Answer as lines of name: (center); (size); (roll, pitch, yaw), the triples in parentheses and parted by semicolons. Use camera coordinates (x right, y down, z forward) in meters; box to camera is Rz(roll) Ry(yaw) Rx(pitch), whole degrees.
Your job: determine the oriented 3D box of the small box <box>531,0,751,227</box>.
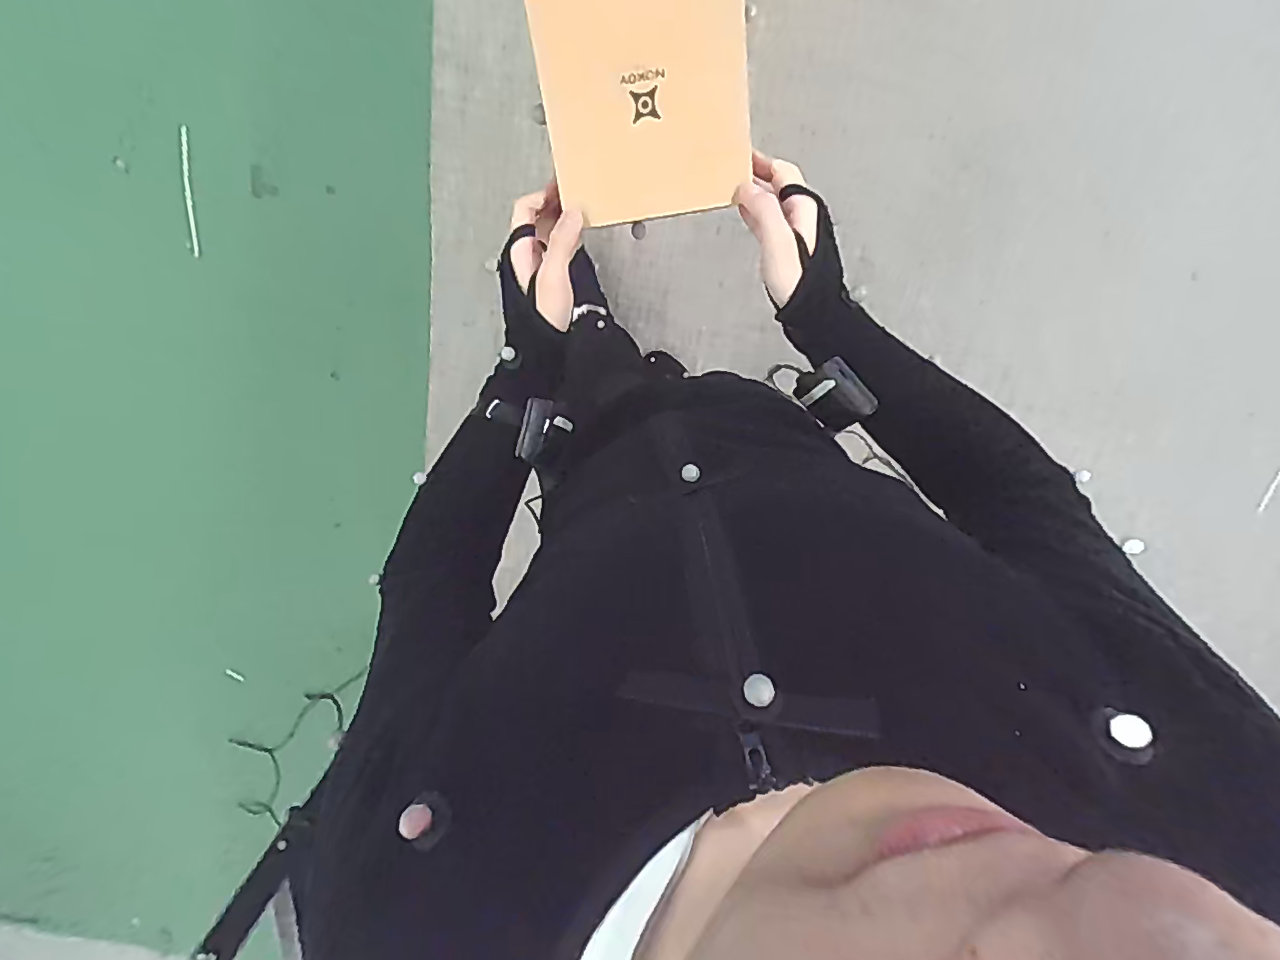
small box: (0.011, -0.343, 0.505); (0.168, 0.176, 0.179); (-5, 114, 6)
